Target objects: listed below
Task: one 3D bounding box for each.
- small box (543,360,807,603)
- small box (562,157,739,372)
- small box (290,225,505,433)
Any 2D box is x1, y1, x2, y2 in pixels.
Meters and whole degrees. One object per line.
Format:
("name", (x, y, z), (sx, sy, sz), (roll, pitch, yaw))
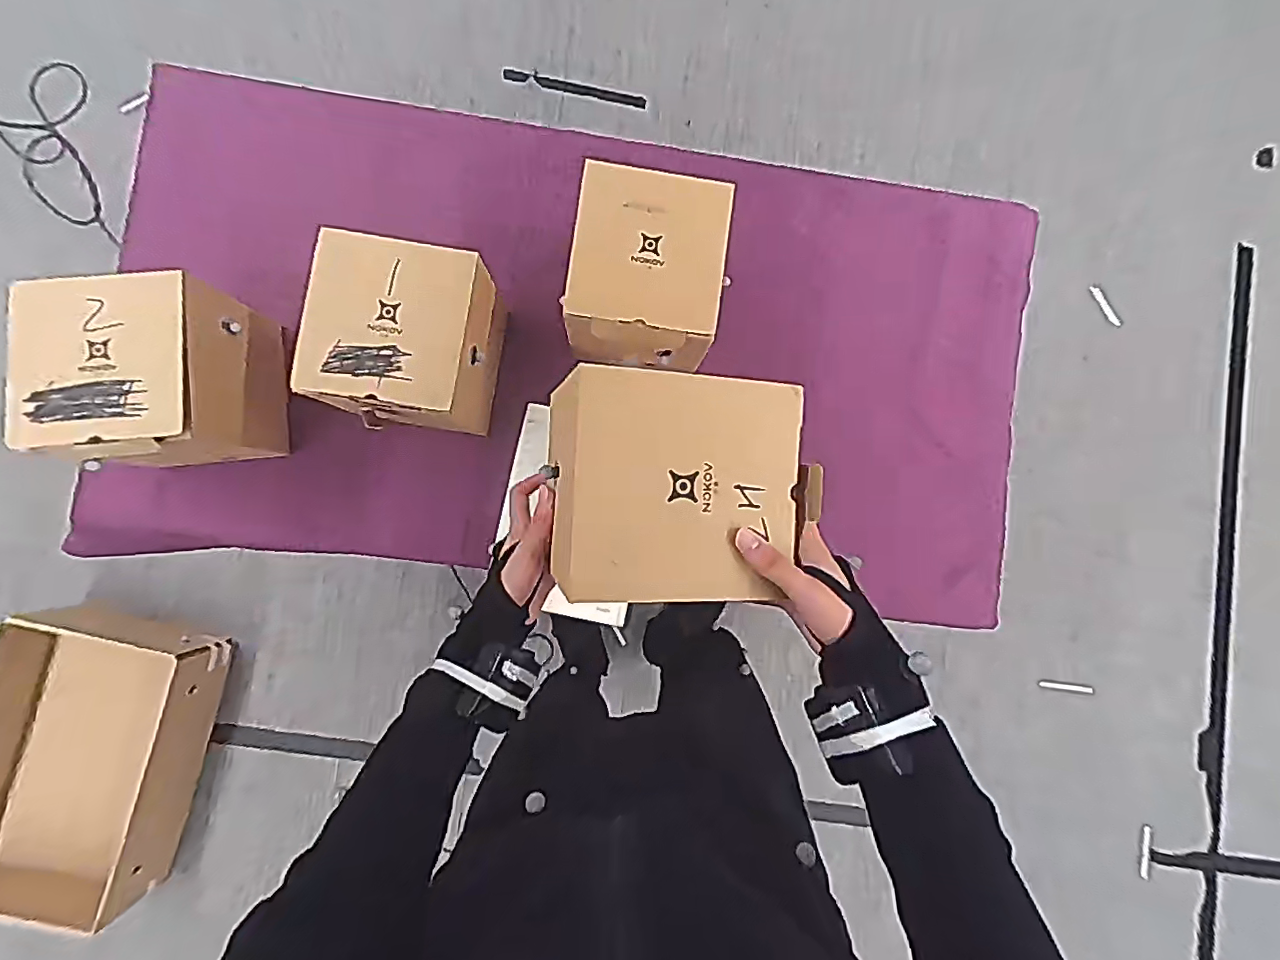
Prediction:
("small box", (0.015, 0.003, 0.458), (0.179, 0.176, 0.168), (3, 92, -17))
("small box", (0.008, -0.239, 0.650), (0.168, 0.176, 0.179), (10, 86, -4))
("small box", (-0.263, -0.159, 0.630), (0.168, 0.176, 0.179), (9, 85, -3))
